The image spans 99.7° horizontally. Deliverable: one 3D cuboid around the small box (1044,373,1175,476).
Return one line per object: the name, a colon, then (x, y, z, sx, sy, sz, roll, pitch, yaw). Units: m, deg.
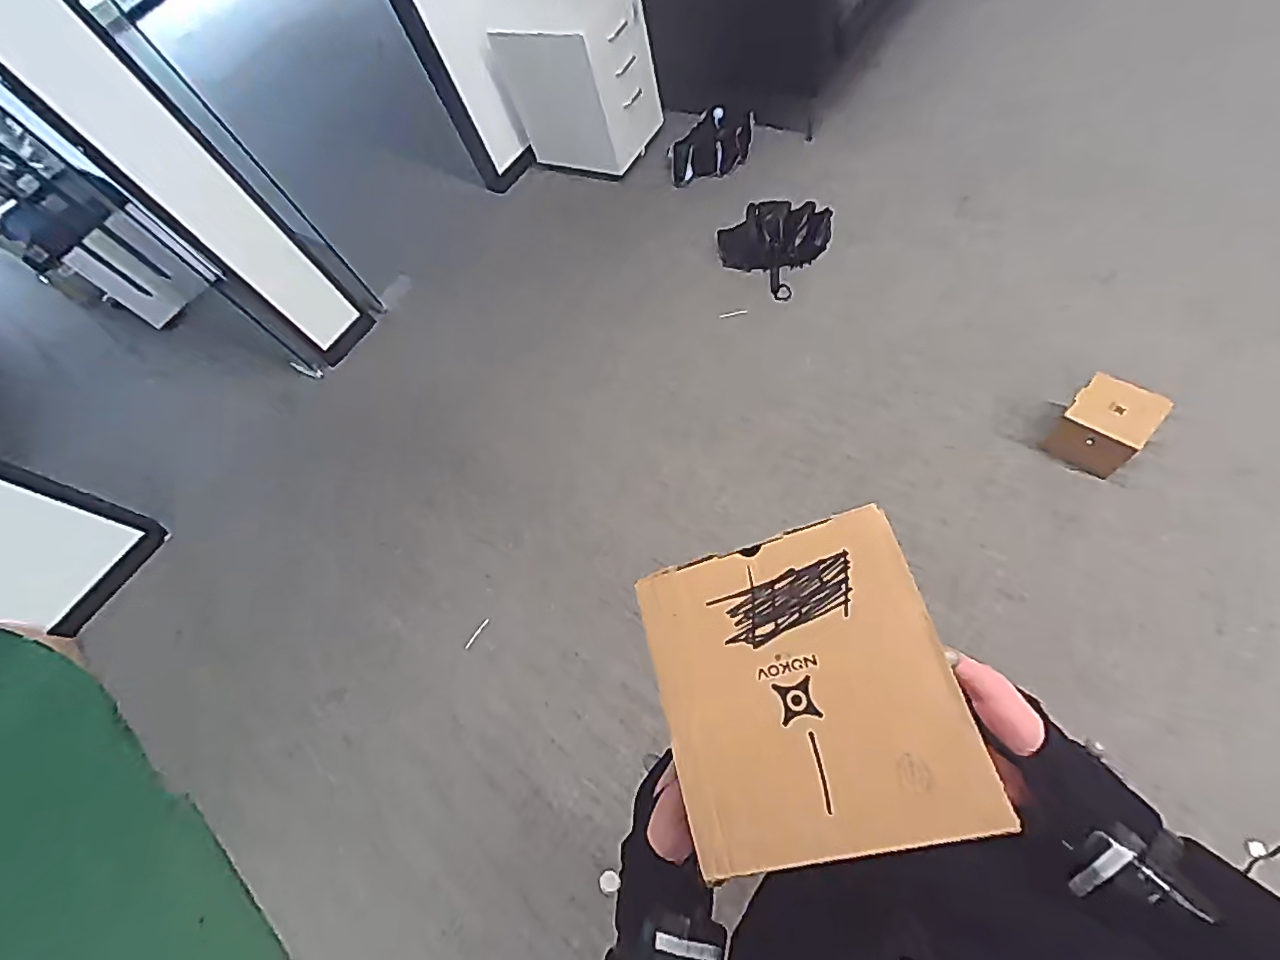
small box: (1.210, -0.139, 1.411, 0.179, 0.176, 0.168, 38, 79, 28)

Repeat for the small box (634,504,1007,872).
small box: (0.115, 0.140, 0.385, 0.168, 0.176, 0.179, -21, 67, 16)
